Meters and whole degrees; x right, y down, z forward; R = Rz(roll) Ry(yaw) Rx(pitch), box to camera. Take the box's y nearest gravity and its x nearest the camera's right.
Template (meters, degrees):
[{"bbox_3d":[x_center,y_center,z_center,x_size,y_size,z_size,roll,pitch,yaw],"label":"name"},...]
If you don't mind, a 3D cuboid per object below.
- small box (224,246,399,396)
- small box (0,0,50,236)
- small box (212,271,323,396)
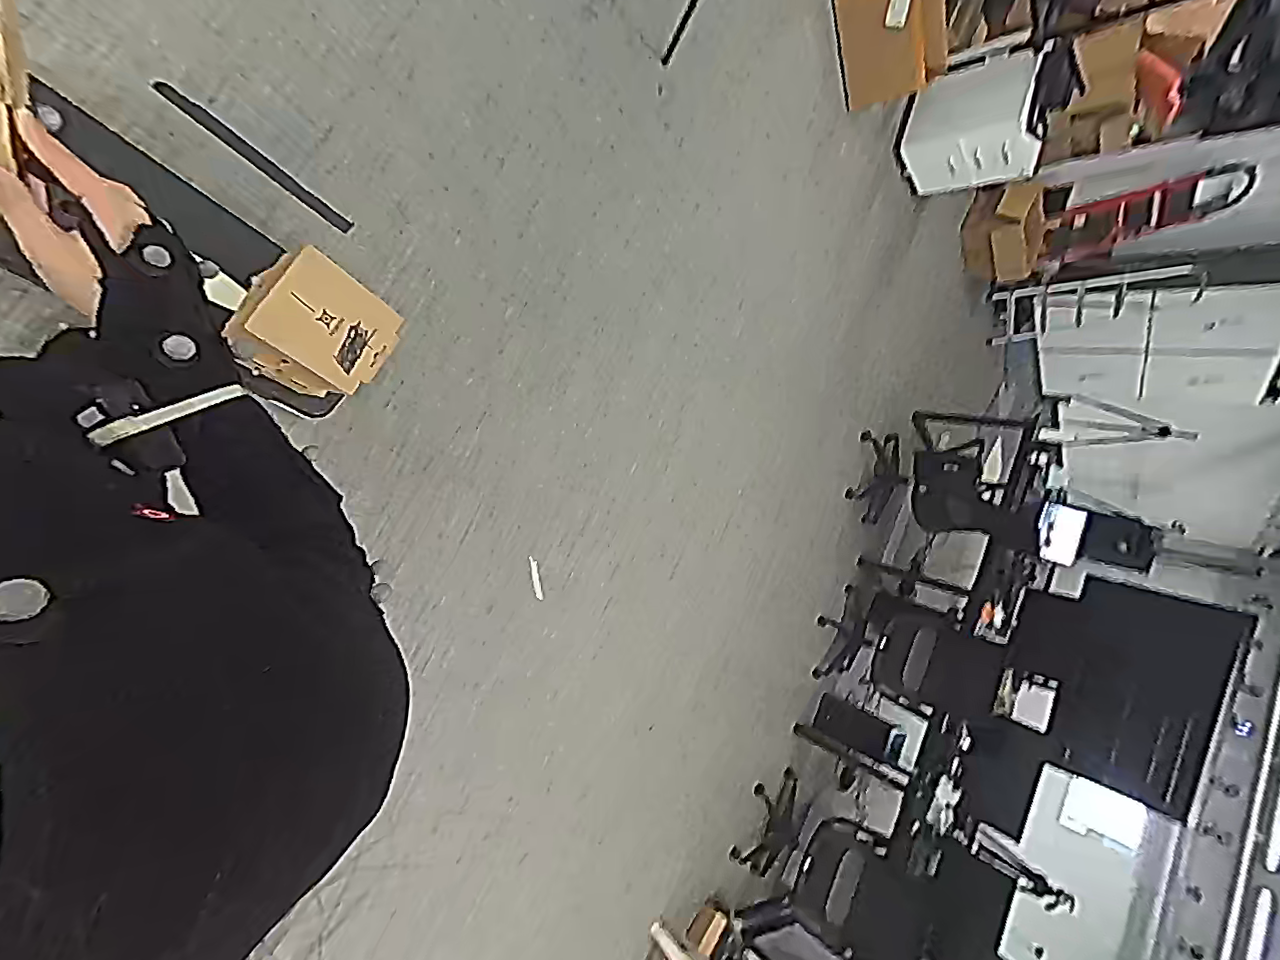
[{"bbox_3d":[-0.557,-0.266,0.918,0.179,0.176,0.168,41,71,-42],"label":"small box"},{"bbox_3d":[-0.470,-0.243,0.298,0.179,0.176,0.168,-7,109,-44],"label":"small box"},{"bbox_3d":[-0.676,-0.281,1.031,0.168,0.176,0.179,34,76,-45],"label":"small box"}]
